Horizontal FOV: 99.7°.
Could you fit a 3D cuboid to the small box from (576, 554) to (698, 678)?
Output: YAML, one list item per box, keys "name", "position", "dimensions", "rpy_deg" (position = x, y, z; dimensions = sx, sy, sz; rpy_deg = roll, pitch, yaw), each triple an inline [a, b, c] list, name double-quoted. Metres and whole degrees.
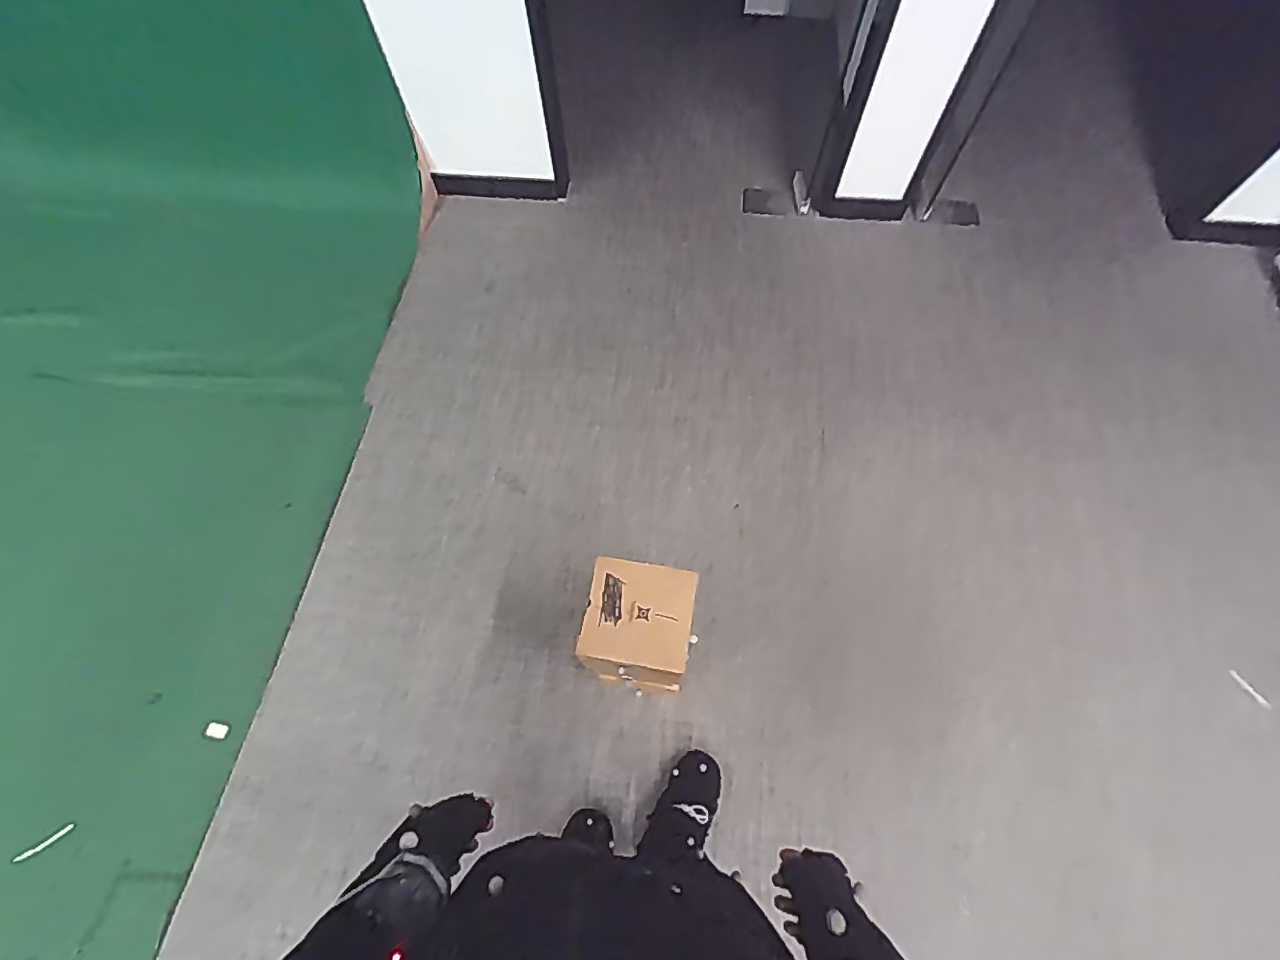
- name: "small box"
  position: [0.001, 0.245, 0.953]
  dimensions: [0.179, 0.176, 0.168]
  rpy_deg: [9, 65, 6]

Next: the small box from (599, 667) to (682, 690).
- name: "small box"
  position: [0.011, 0.385, 1.249]
  dimensions: [0.179, 0.176, 0.168]
  rpy_deg: [8, 65, 5]
